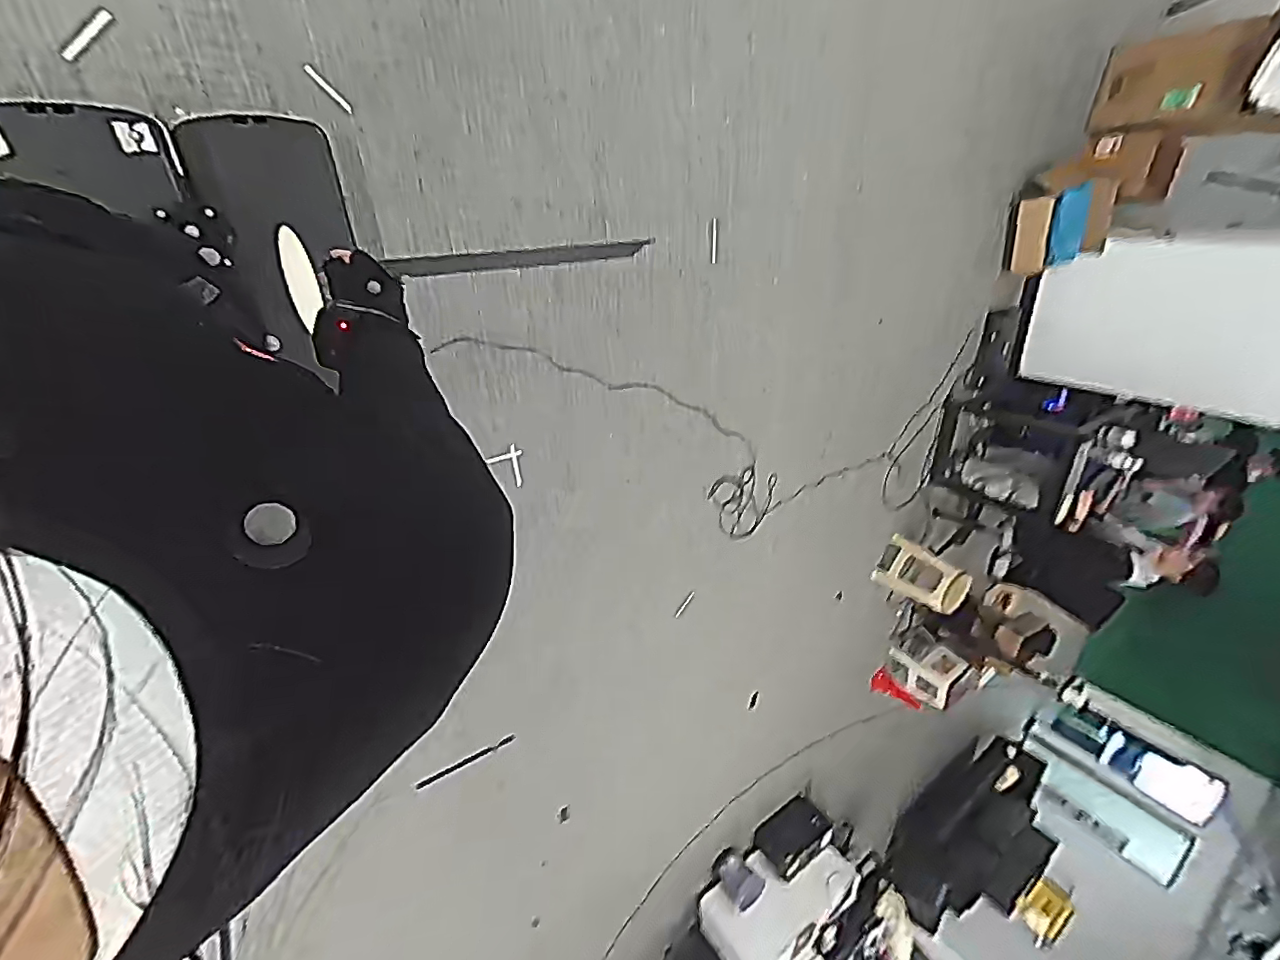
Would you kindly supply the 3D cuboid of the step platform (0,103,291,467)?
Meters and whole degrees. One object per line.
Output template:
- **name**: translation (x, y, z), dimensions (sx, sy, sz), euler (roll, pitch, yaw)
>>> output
- **step platform**: translation (-0.999, -0.370, 1.127), dimensions (0.286, 0.204, 0.684), euler (-21, 121, -29)
